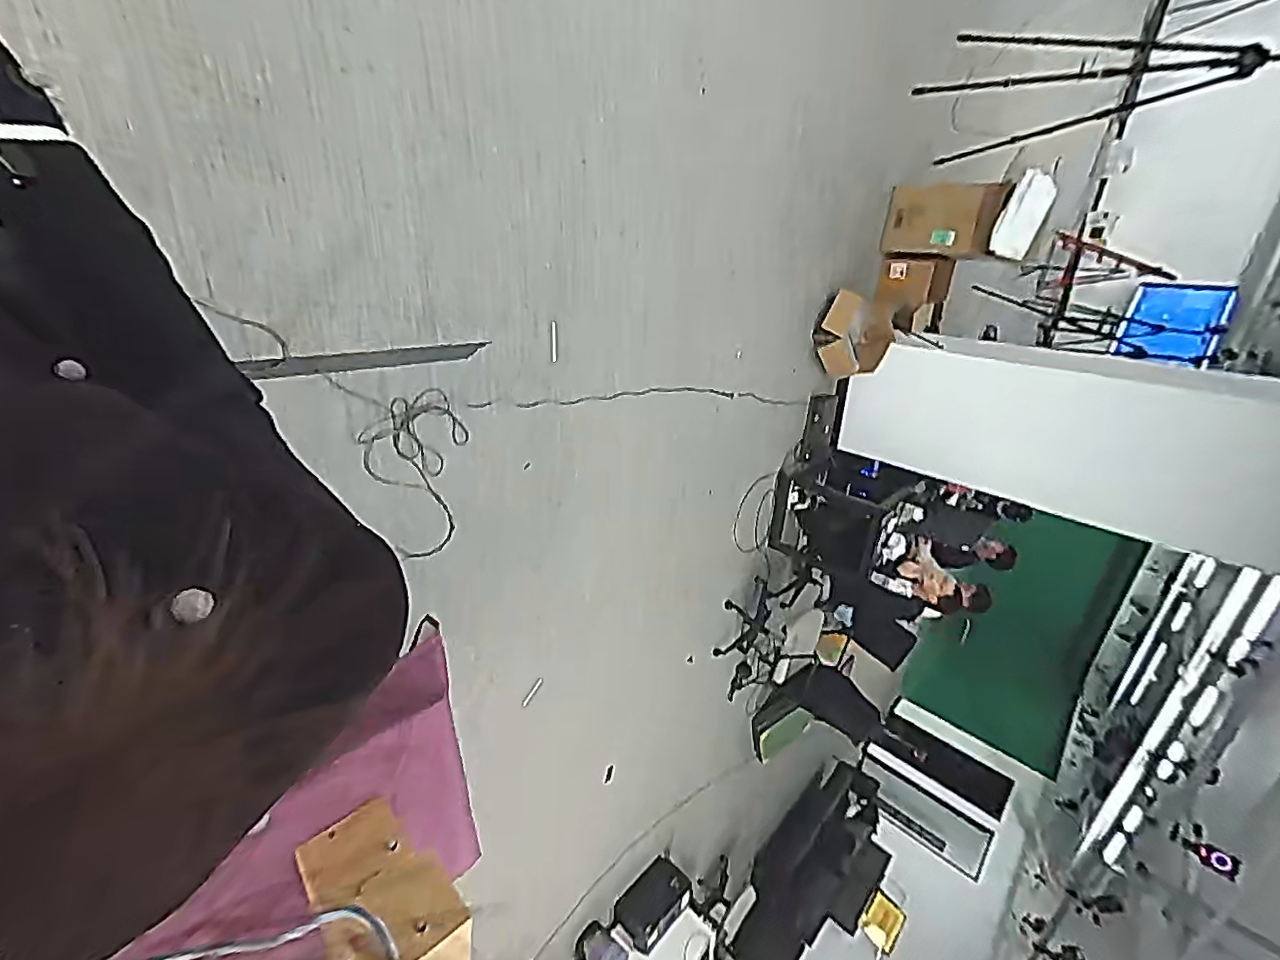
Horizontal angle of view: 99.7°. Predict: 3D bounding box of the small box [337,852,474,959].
[{"bbox_3d":[-0.425,0.834,0.979,0.179,0.176,0.168,-11,116,-46],"label":"small box"}]
